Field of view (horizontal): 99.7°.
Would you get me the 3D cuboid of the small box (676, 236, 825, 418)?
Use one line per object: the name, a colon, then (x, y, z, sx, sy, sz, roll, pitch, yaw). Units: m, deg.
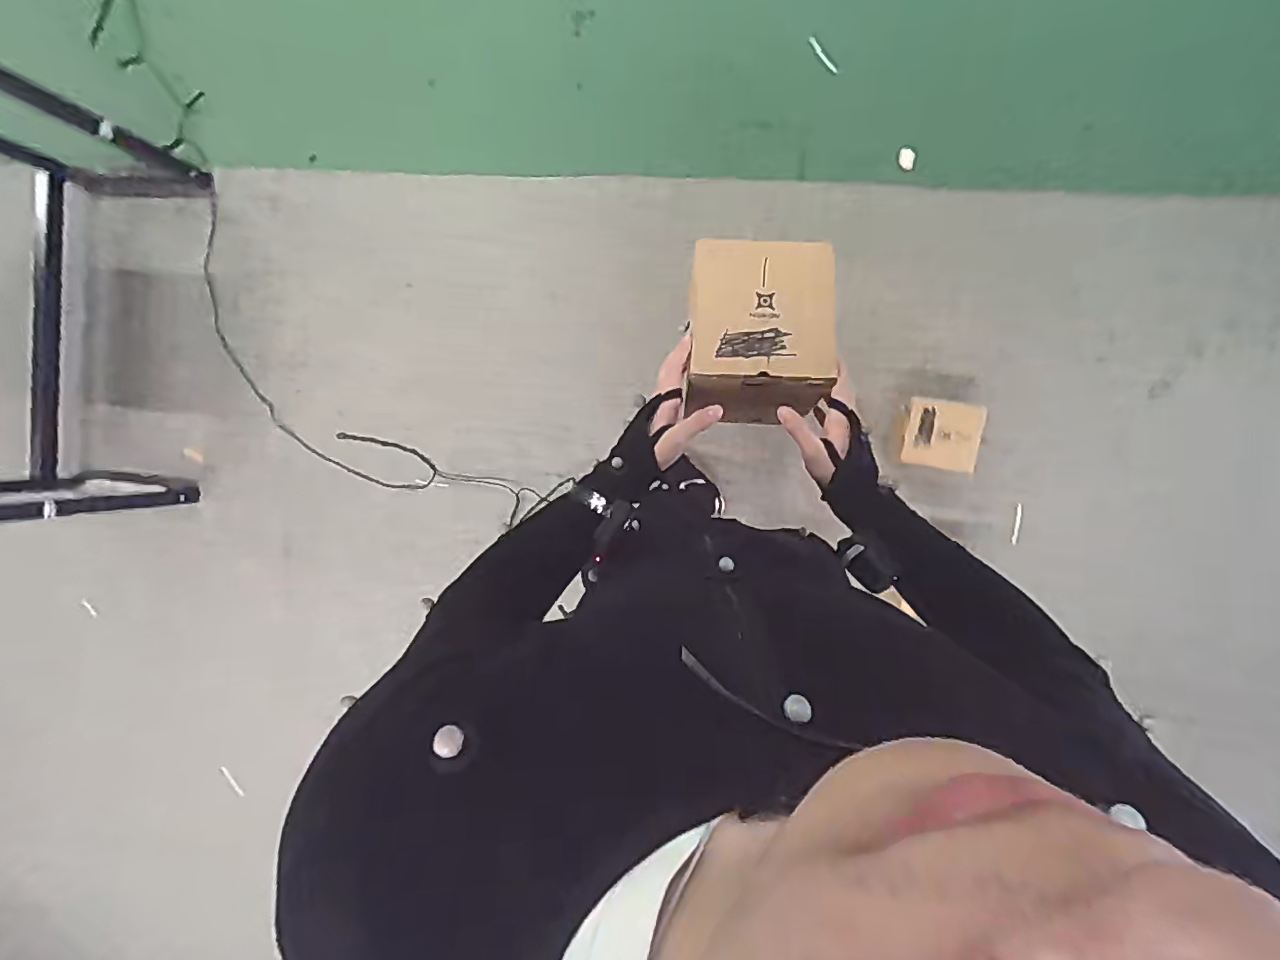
small box: (0.133, -0.187, 0.702, 0.168, 0.176, 0.179, 1, 76, 2)

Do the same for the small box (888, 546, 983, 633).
small box: (0.771, 0.280, 1.430, 0.168, 0.176, 0.179, 9, 94, 11)
